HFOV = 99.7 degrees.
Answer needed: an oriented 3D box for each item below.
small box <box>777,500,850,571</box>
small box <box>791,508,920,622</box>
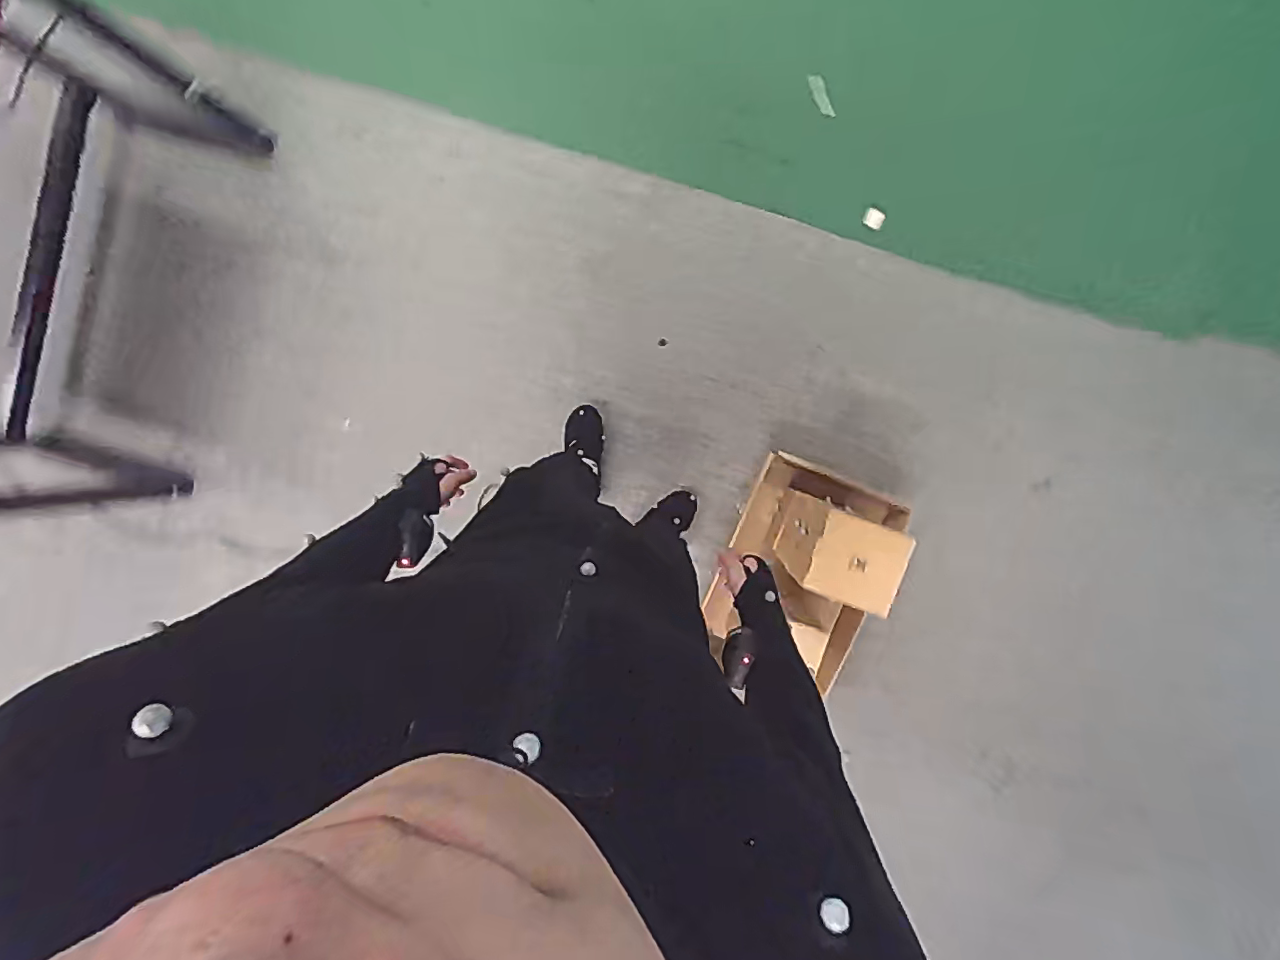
[{"bbox_3d":[0.448,0.154,1.282,0.179,0.176,0.168,22,94,2],"label":"small box"},{"bbox_3d":[0.435,0.164,1.121,0.179,0.176,0.168,20,95,4],"label":"small box"}]
